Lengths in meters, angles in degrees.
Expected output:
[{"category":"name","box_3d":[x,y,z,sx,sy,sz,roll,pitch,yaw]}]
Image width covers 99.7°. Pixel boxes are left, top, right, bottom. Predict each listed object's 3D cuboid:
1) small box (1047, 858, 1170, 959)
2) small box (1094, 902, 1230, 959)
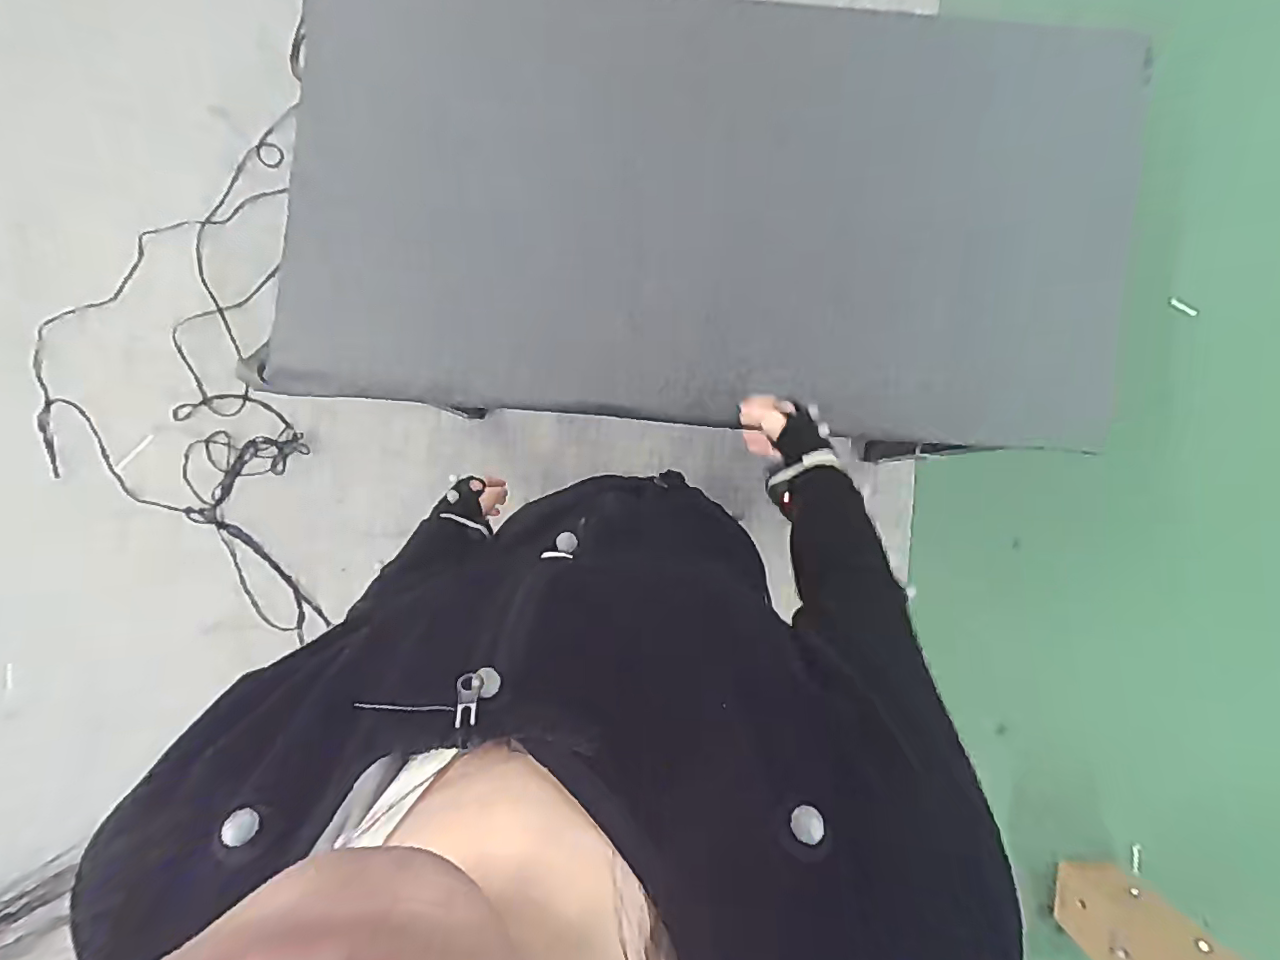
[{"category":"small box","box_3d":[1.189,1.107,1.385,0.179,0.176,0.168,5,89,0]},{"category":"small box","box_3d":[1.188,1.102,1.220,0.179,0.176,0.168,8,88,1]}]
